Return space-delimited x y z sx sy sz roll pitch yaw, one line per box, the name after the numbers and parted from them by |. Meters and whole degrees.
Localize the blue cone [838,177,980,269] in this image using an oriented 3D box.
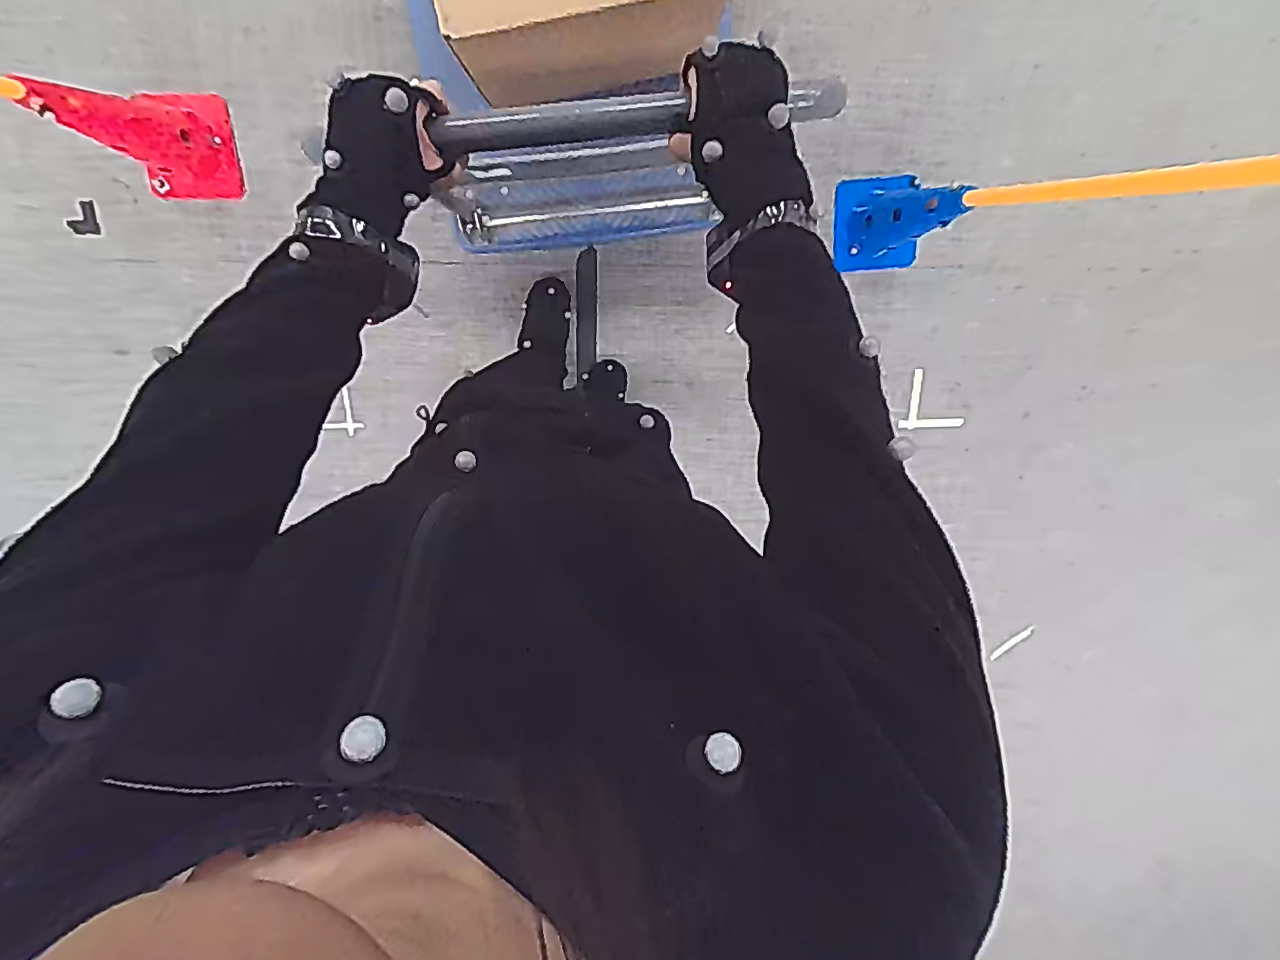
0.569 -0.554 1.120 0.193 0.380 0.192 -3 108 -2 | blue cone
